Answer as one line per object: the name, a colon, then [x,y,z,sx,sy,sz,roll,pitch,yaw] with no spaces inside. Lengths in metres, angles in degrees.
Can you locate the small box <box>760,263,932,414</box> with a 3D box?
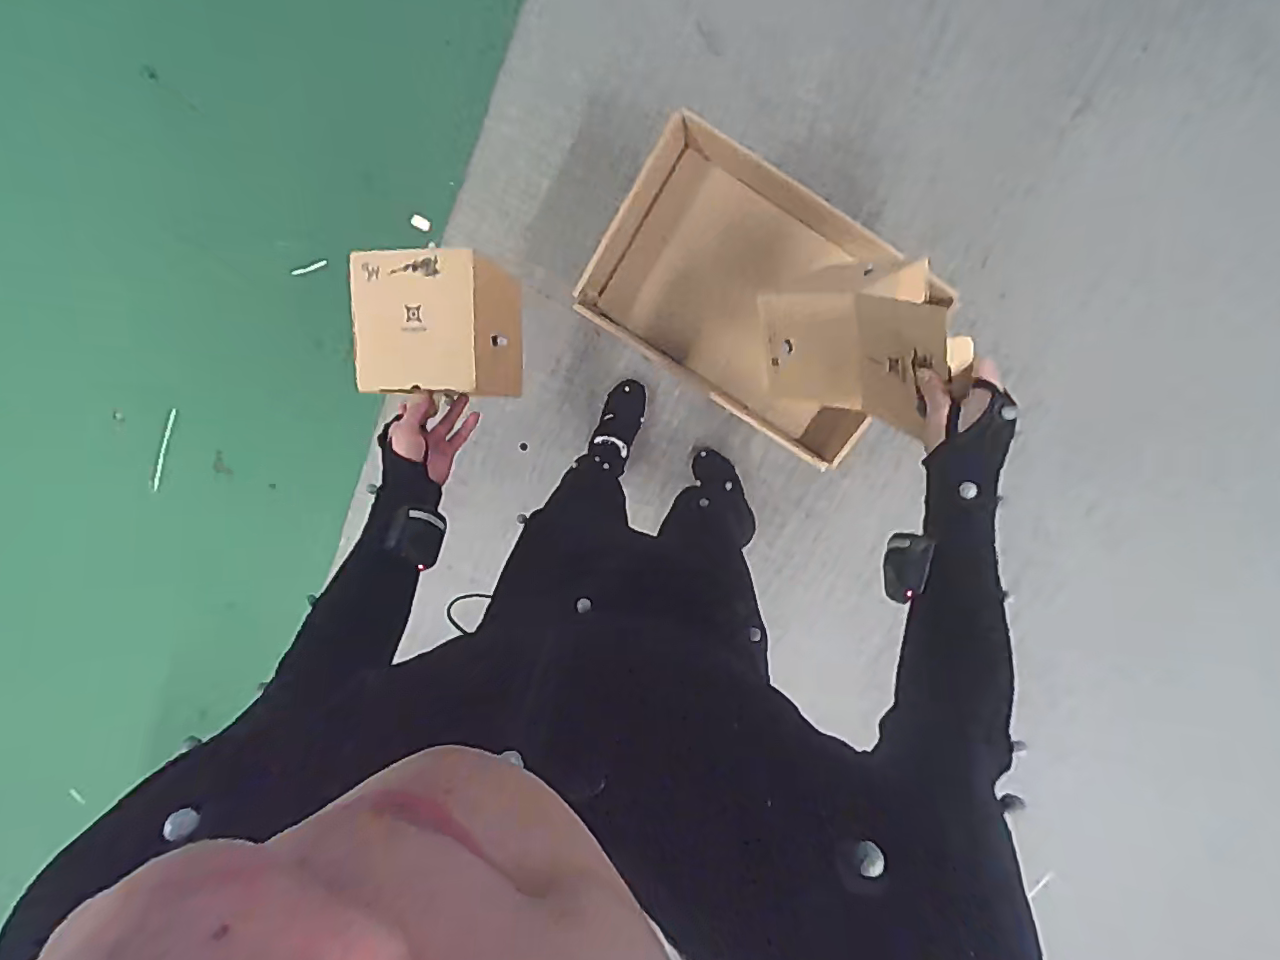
small box: [0.305,-0.216,0.807,0.179,0.176,0.168,-28,118,-26]

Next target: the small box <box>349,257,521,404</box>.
small box: [-0.273,-0.196,0.756,0.168,0.176,0.179,0,97,9]
